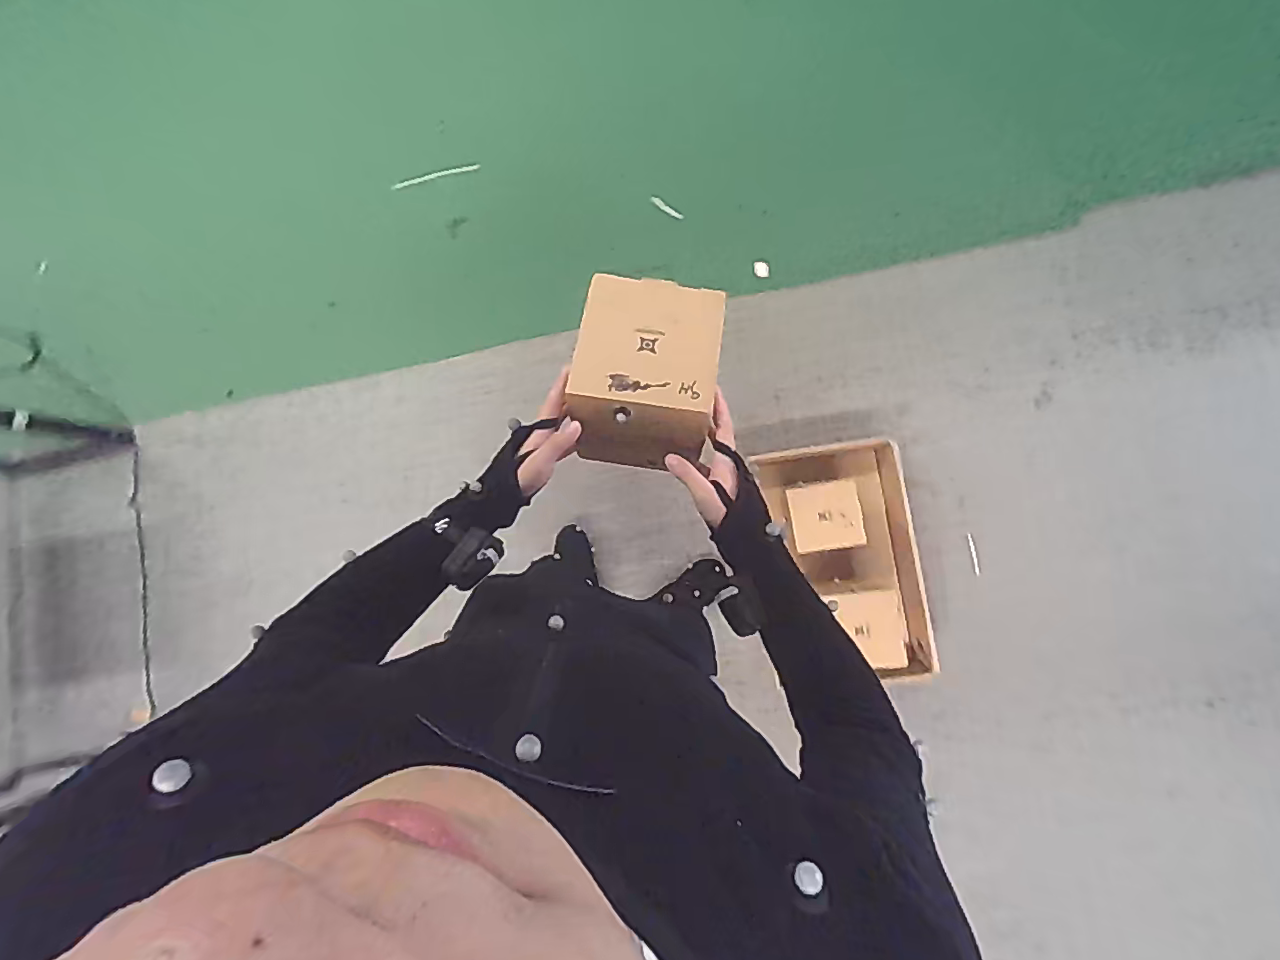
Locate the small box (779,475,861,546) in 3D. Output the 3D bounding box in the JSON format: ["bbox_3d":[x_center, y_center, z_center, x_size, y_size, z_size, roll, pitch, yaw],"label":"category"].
[{"bbox_3d":[0.479,0.084,1.468,0.179,0.176,0.168,-9,86,7],"label":"small box"}]

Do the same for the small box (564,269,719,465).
[{"bbox_3d":[0.003,-0.140,0.703,0.168,0.176,0.179,7,66,2],"label":"small box"}]

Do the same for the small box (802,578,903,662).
[{"bbox_3d":[0.494,0.326,1.281,0.179,0.176,0.168,-7,82,7],"label":"small box"}]

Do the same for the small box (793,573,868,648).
[{"bbox_3d":[0.512,0.343,1.444,0.179,0.176,0.168,-9,84,6],"label":"small box"}]
